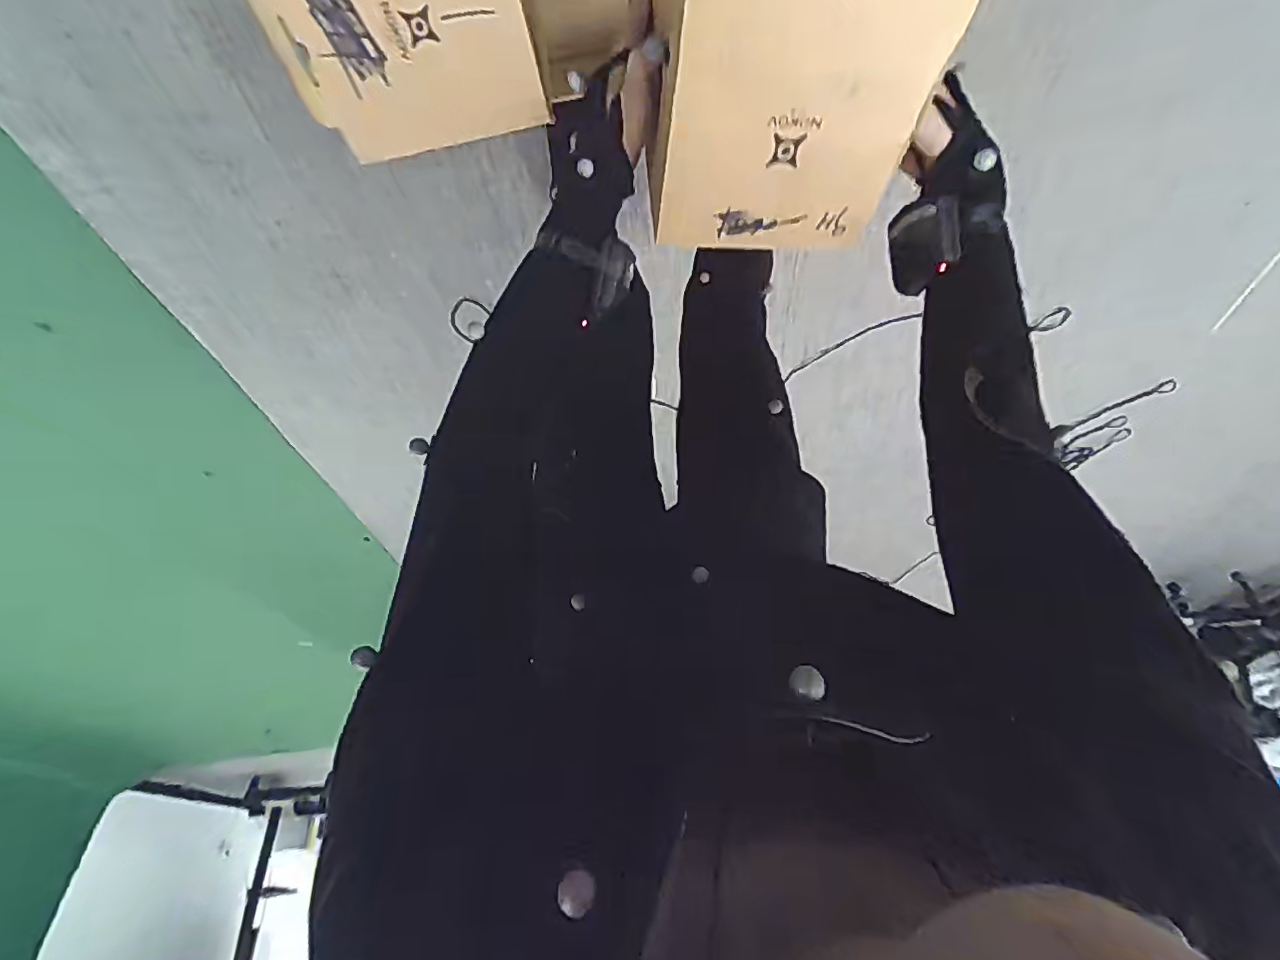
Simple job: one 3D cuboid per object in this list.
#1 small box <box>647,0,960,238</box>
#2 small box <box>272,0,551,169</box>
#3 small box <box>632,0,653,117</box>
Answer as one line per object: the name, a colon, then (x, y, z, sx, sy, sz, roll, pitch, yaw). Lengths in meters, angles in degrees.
small box: (0.094, -0.309, 0.401, 0.168, 0.176, 0.179, -1, 151, -3)
small box: (-0.180, -0.400, 0.456, 0.179, 0.176, 0.168, -11, 145, 4)
small box: (0.088, -0.452, 0.482, 0.179, 0.176, 0.168, 0, 152, -5)
